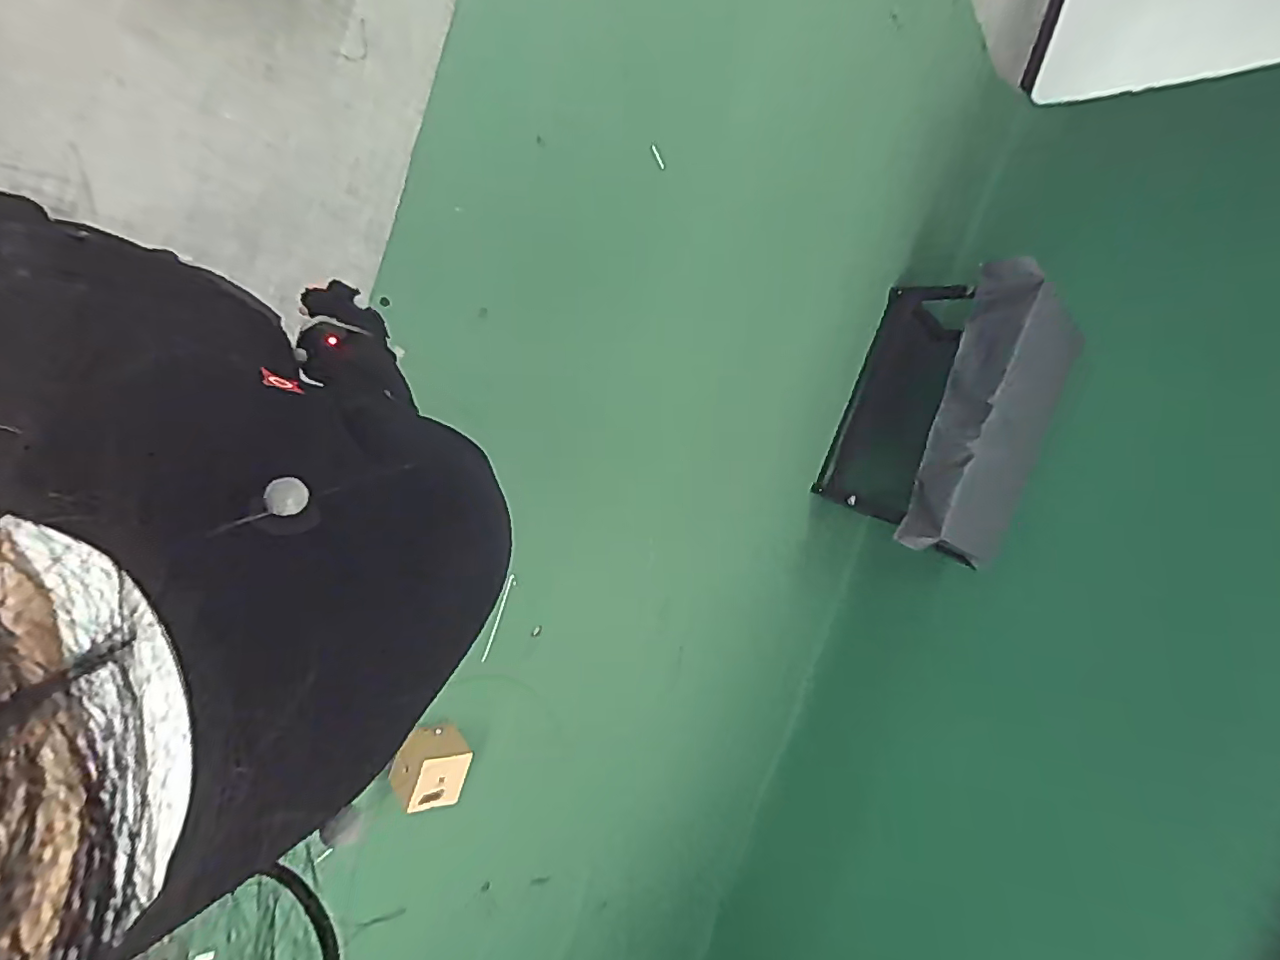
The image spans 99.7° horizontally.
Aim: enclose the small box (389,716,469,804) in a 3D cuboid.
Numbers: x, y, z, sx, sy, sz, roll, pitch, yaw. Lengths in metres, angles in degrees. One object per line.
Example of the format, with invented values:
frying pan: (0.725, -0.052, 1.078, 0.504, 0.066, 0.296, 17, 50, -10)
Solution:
small box: (-0.682, 0.888, 1.730, 0.168, 0.176, 0.179, 17, 94, -45)
